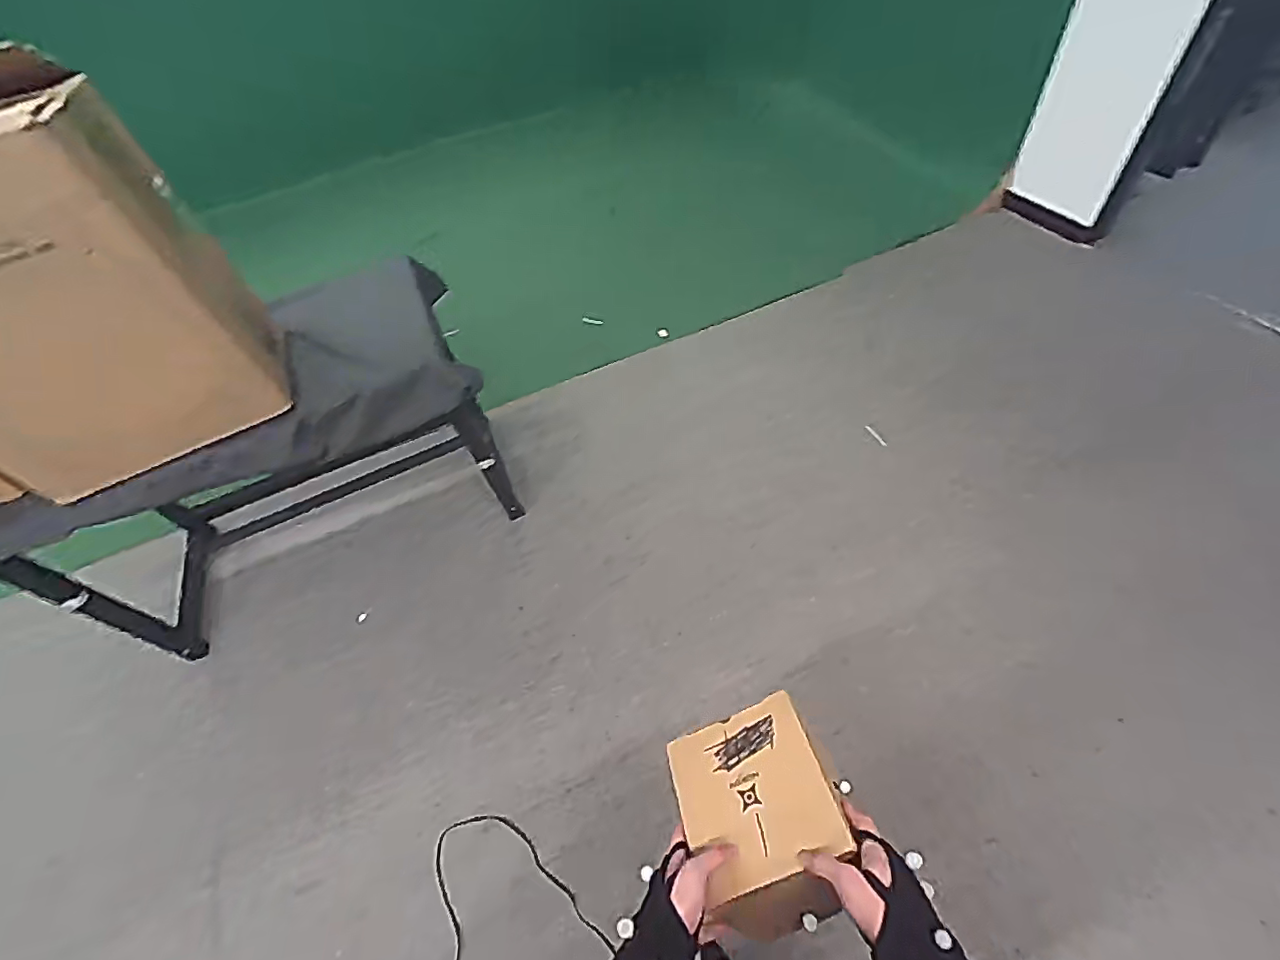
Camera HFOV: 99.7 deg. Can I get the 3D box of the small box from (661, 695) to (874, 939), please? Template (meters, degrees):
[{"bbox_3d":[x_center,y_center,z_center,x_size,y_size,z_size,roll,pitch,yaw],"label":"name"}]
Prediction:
[{"bbox_3d":[0.147,0.400,0.645,0.168,0.176,0.179,-30,35,8],"label":"small box"}]
